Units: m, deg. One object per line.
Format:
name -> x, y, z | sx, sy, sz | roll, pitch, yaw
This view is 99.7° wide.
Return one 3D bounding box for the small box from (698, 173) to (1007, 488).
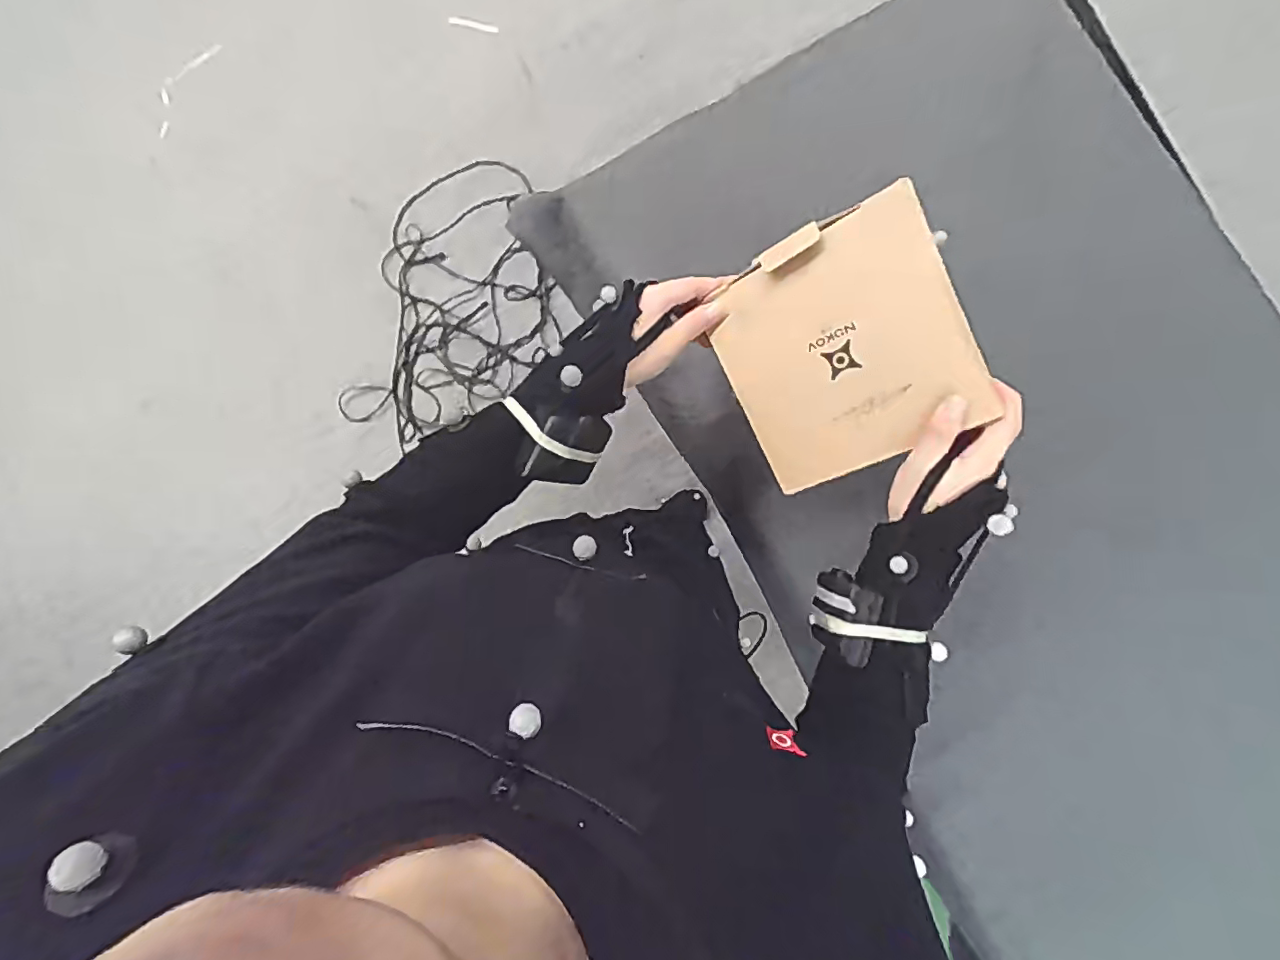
small box -> 0.177, -0.121, 0.465 | 0.168, 0.176, 0.179 | -25, 99, 30
